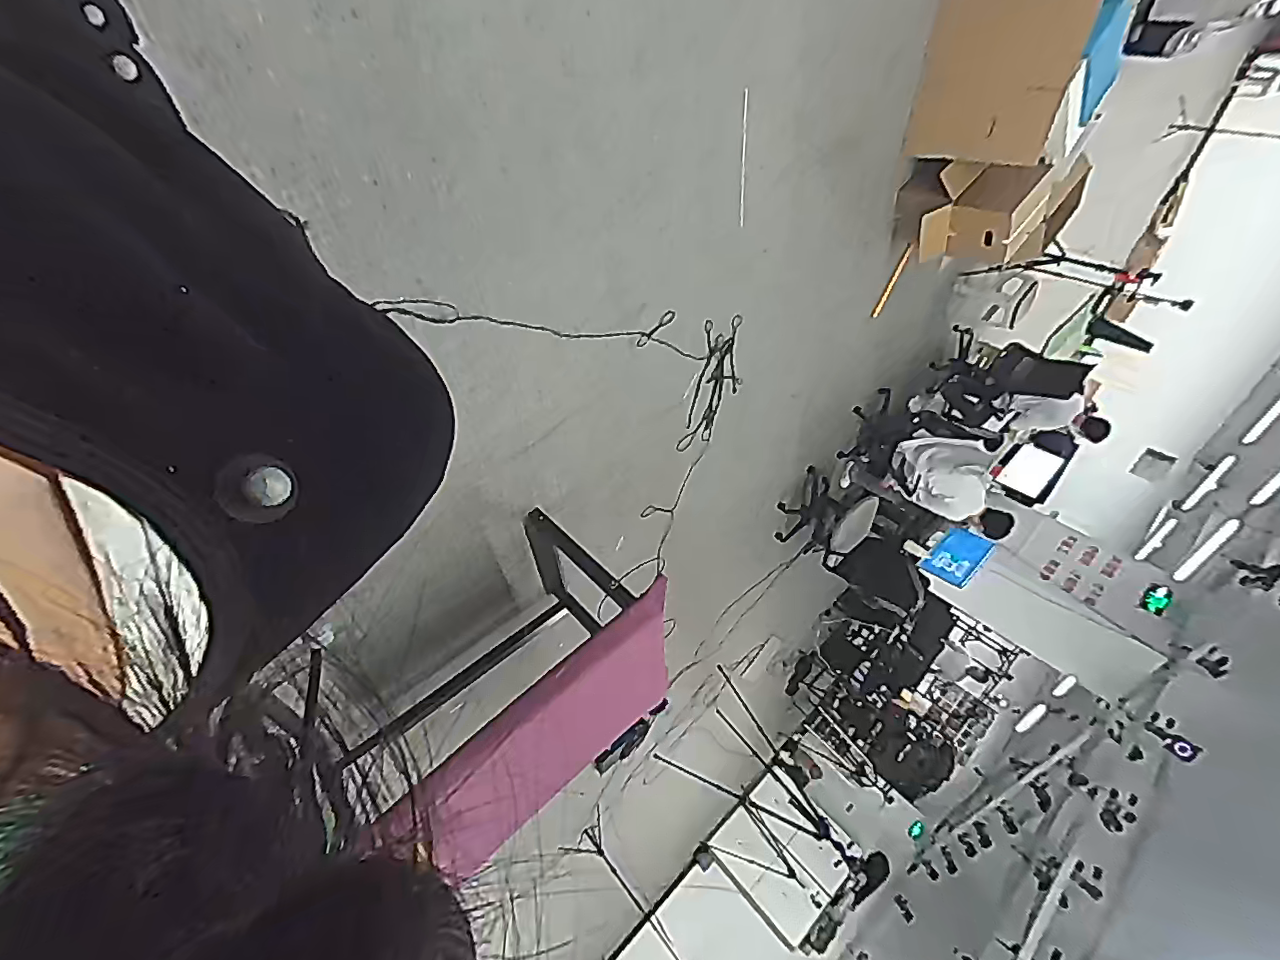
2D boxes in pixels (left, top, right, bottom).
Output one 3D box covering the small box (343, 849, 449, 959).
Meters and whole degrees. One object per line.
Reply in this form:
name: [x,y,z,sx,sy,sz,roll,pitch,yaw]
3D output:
small box: [-0.636,1.117,1.415,0.179,0.176,0.168,-33,141,-29]
